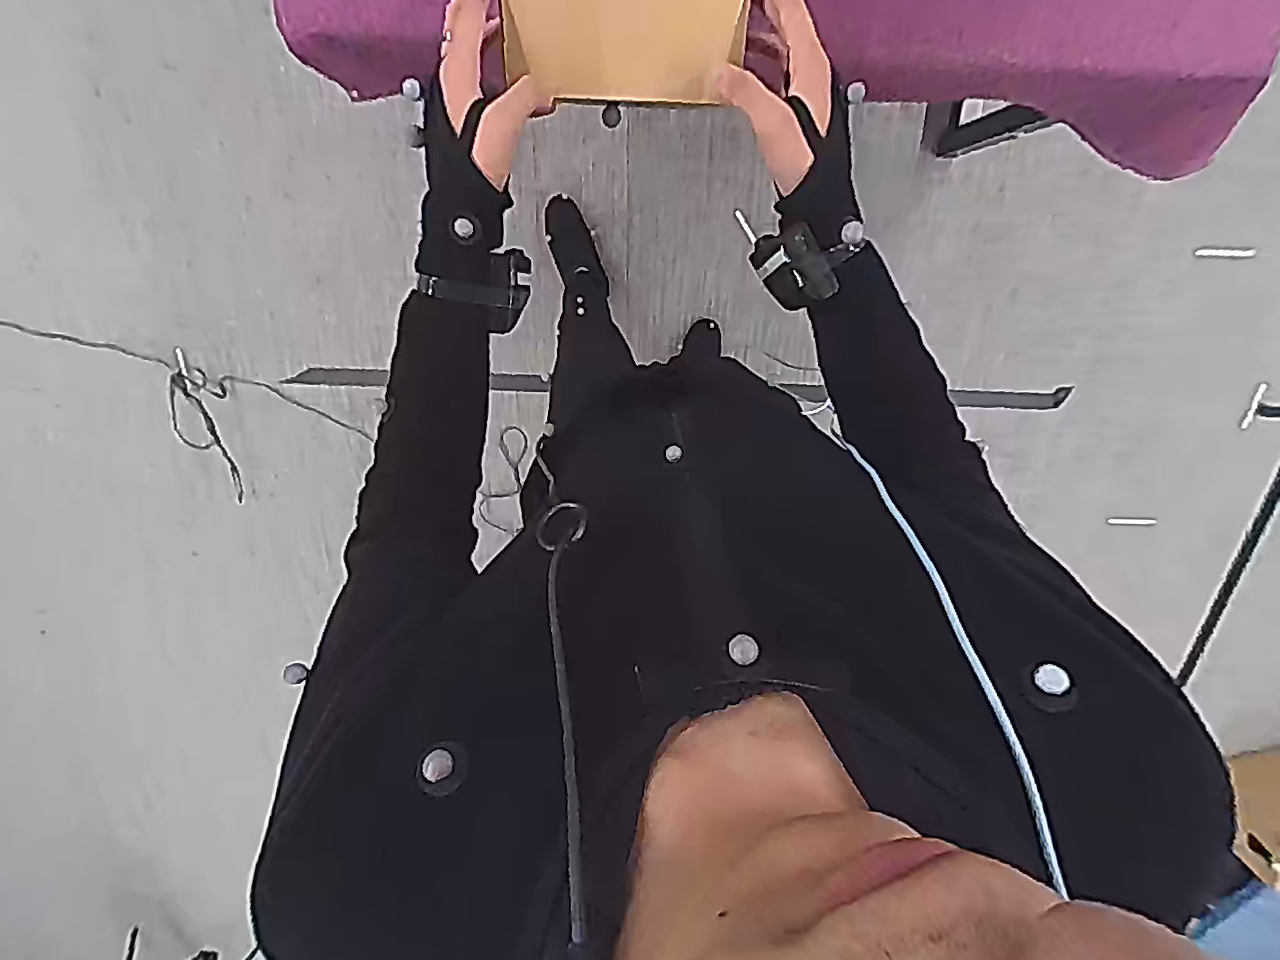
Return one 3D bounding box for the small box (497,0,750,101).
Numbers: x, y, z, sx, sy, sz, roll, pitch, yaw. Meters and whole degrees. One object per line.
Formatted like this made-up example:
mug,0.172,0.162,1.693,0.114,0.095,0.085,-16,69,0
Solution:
small box,-0.015,-0.399,0.420,0.179,0.176,0.168,0,124,-4
